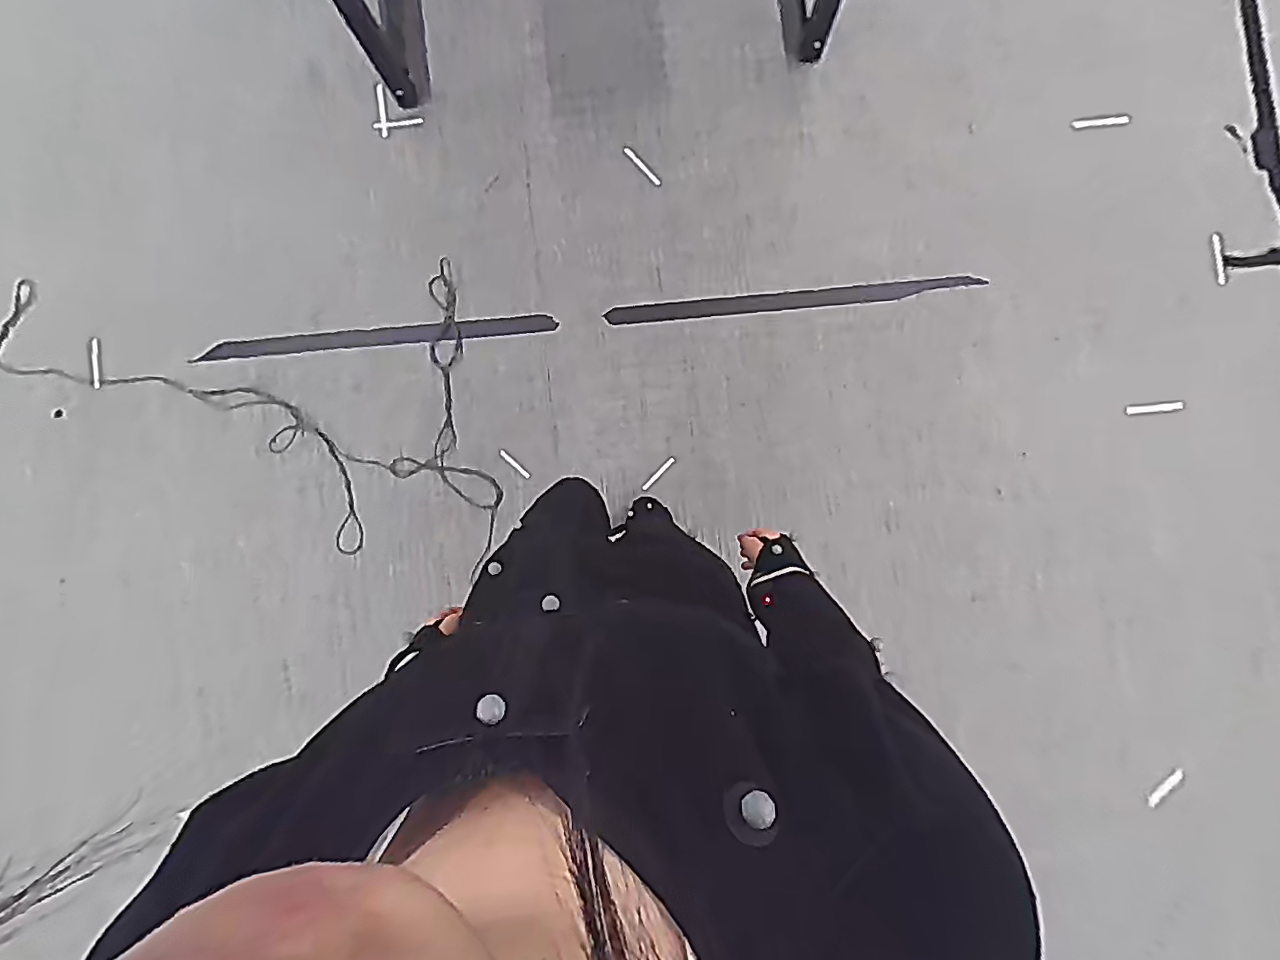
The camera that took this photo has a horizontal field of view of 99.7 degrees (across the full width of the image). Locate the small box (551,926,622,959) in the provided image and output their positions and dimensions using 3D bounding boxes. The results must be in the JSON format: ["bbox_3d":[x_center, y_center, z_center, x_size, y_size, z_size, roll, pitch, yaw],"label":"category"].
[{"bbox_3d":[-0.137,1.287,1.378,0.179,0.176,0.168,-6,88,0],"label":"small box"}]
